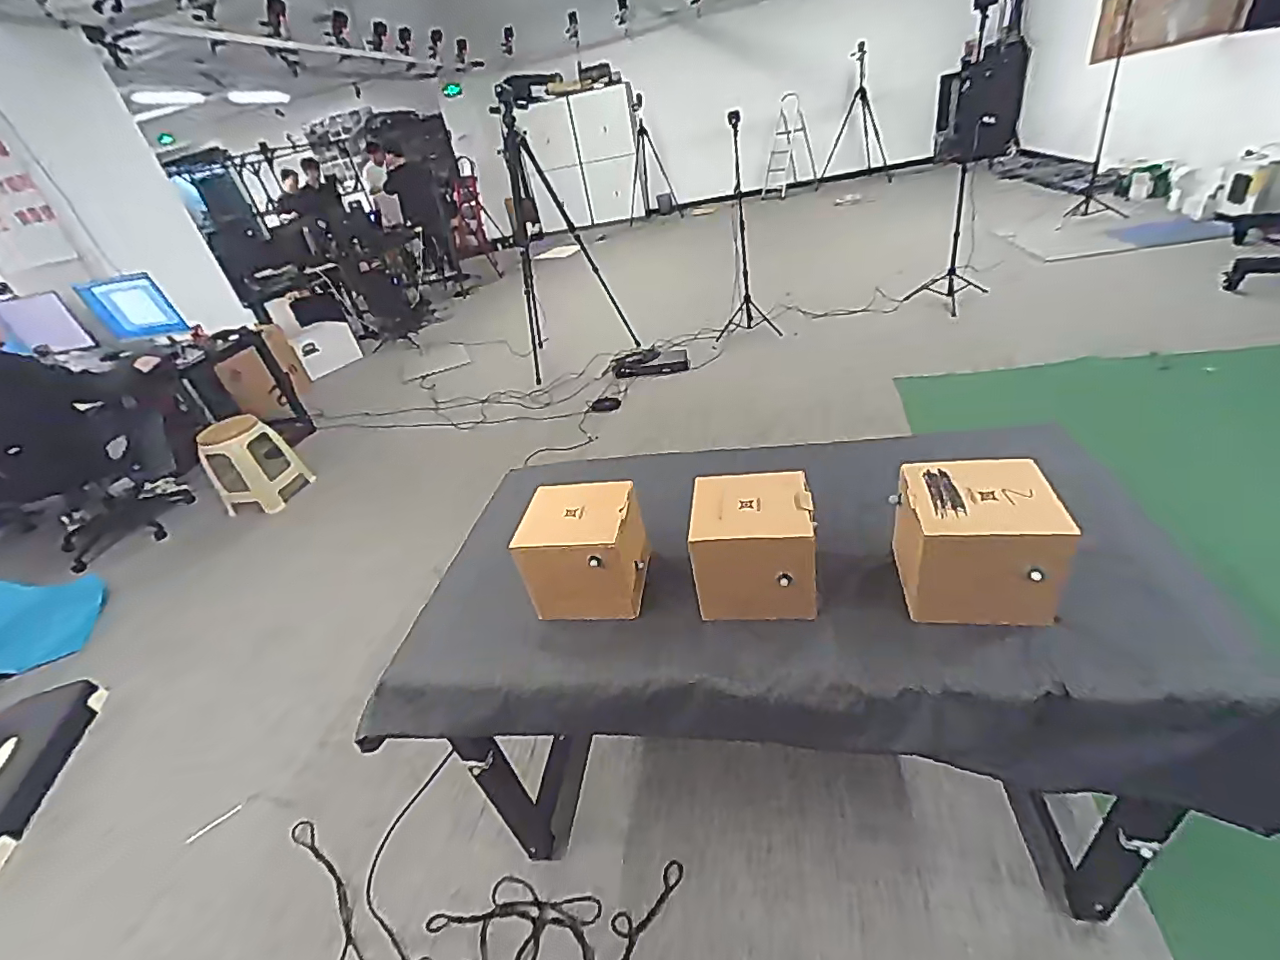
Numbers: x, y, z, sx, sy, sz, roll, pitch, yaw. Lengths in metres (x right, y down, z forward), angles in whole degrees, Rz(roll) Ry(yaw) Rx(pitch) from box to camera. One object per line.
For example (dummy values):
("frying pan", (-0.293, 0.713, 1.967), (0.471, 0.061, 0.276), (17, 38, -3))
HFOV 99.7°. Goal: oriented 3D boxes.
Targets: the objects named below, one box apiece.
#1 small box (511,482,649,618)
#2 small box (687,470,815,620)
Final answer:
("small box", (-0.092, 0.122, 0.925), (0.179, 0.176, 0.168), (-4, 34, 13))
("small box", (0.180, 0.104, 0.855), (0.179, 0.176, 0.168), (-6, 32, 14))
